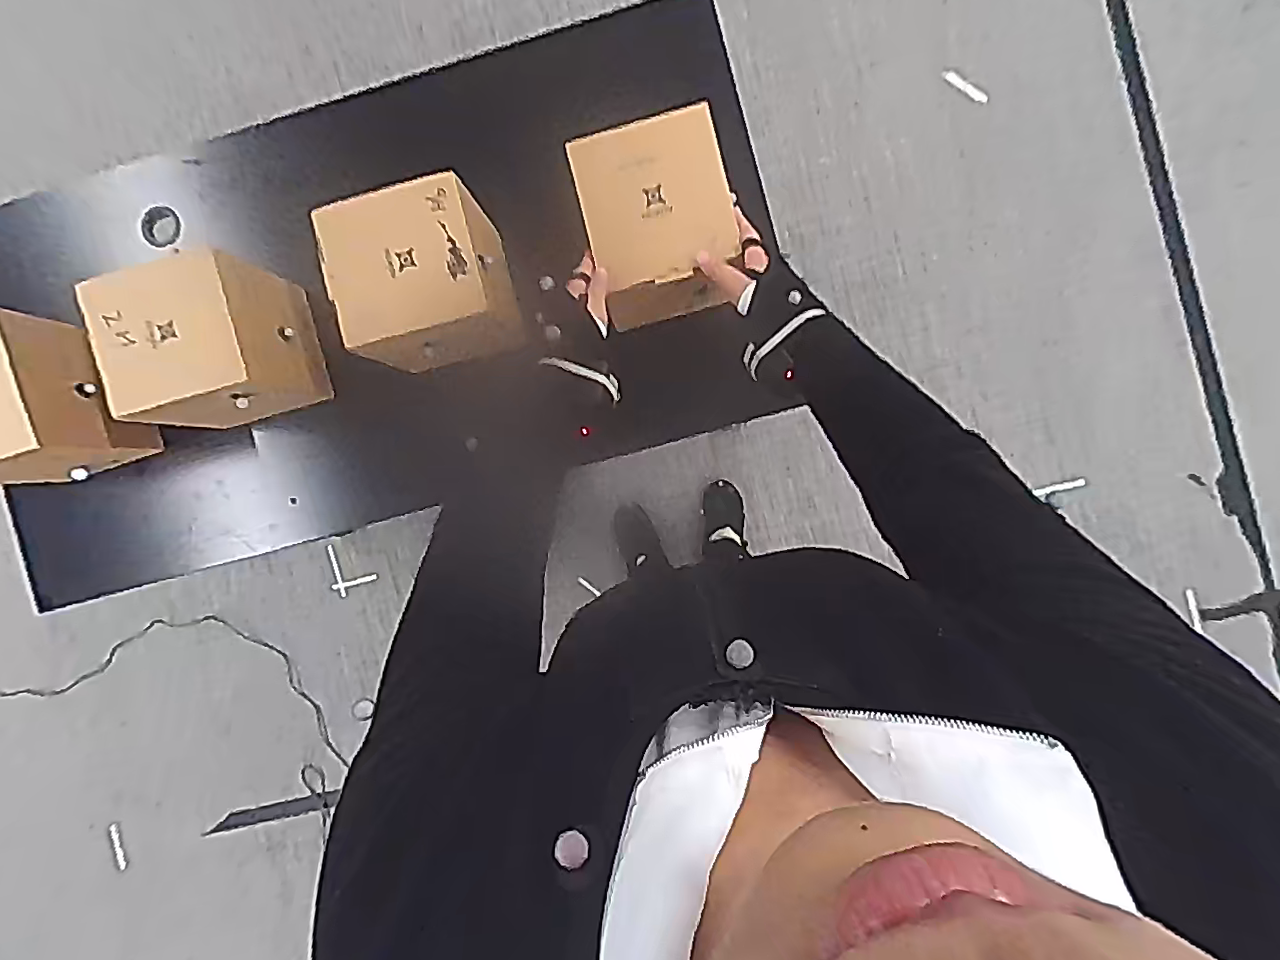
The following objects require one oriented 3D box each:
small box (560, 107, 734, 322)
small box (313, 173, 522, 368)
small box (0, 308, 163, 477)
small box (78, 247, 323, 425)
[{"bbox_3d":[0.013,-0.314,0.685,0.168,0.176,0.179,-15,90,3],"label":"small box"},{"bbox_3d":[-0.274,-0.254,0.702,0.179,0.176,0.168,-14,91,4],"label":"small box"},{"bbox_3d":[-0.813,-0.104,0.730,0.168,0.176,0.179,-17,92,3],"label":"small box"},{"bbox_3d":[-0.556,-0.176,0.716,0.179,0.176,0.168,-16,90,3],"label":"small box"}]
